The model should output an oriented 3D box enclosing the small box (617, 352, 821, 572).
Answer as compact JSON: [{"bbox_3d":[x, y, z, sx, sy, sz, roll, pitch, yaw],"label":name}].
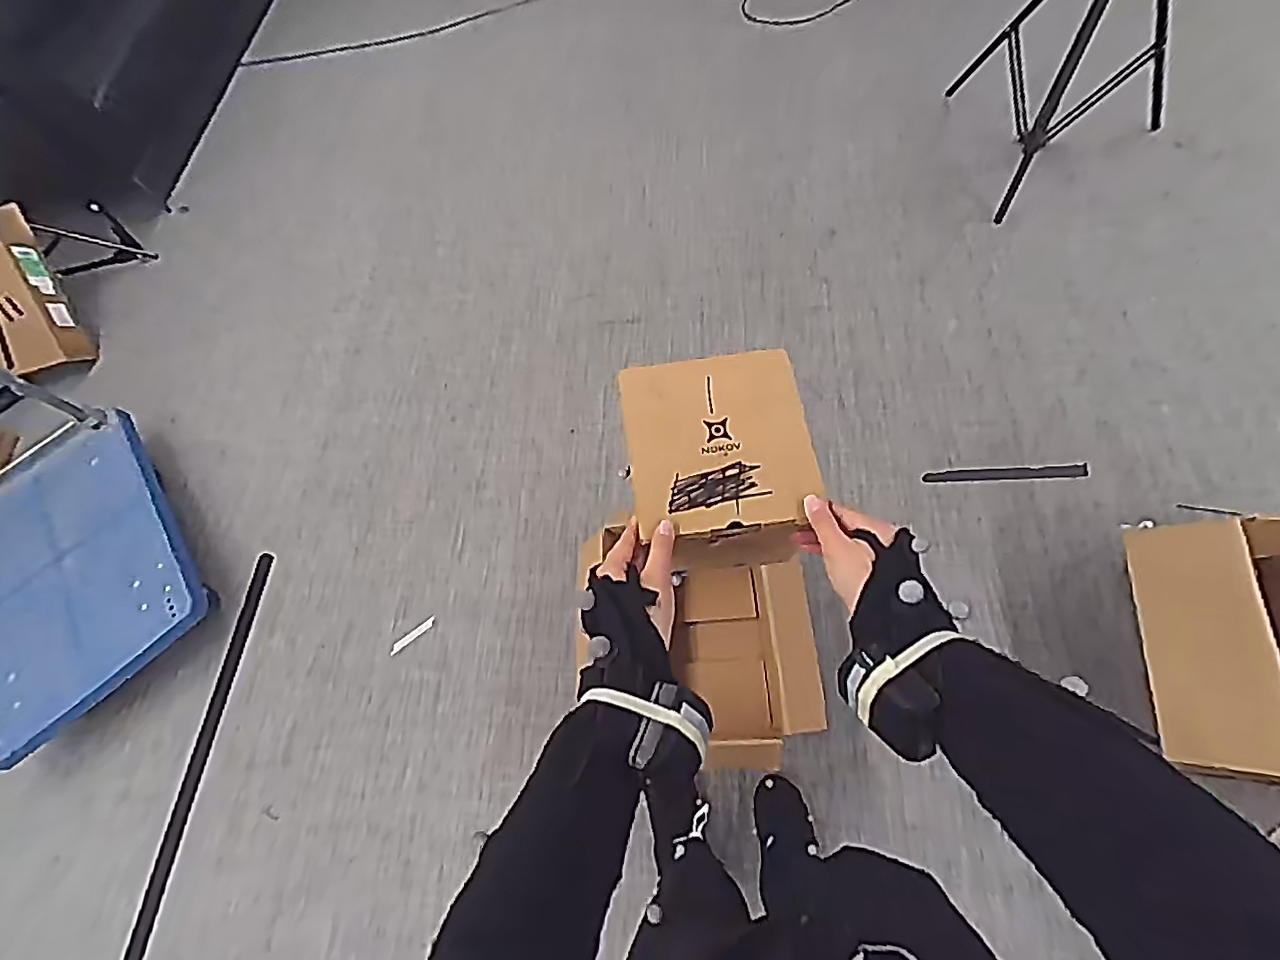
[{"bbox_3d":[0.072,-0.006,0.571,0.168,0.176,0.179,-8,67,-1],"label":"small box"}]
